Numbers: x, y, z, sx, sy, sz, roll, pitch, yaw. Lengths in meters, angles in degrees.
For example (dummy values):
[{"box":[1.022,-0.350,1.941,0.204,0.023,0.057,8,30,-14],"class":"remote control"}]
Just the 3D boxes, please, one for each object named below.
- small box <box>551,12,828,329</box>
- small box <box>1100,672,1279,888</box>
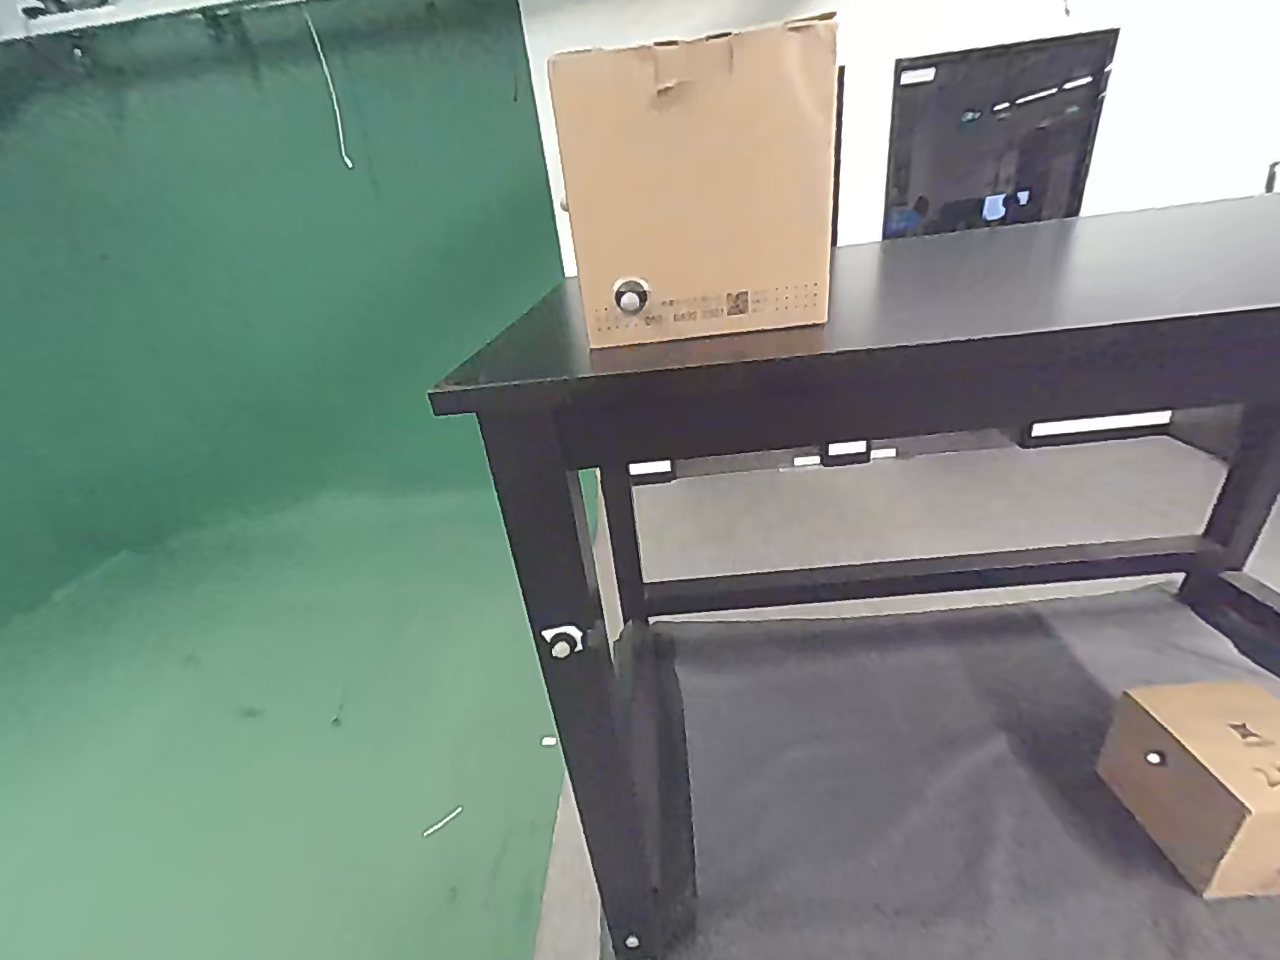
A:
[{"box":[0.037,-0.216,0.418,0.168,0.176,0.179,-6,25,2],"class":"small box"},{"box":[0.747,0.377,0.694,0.168,0.176,0.179,-7,25,3],"class":"small box"}]
